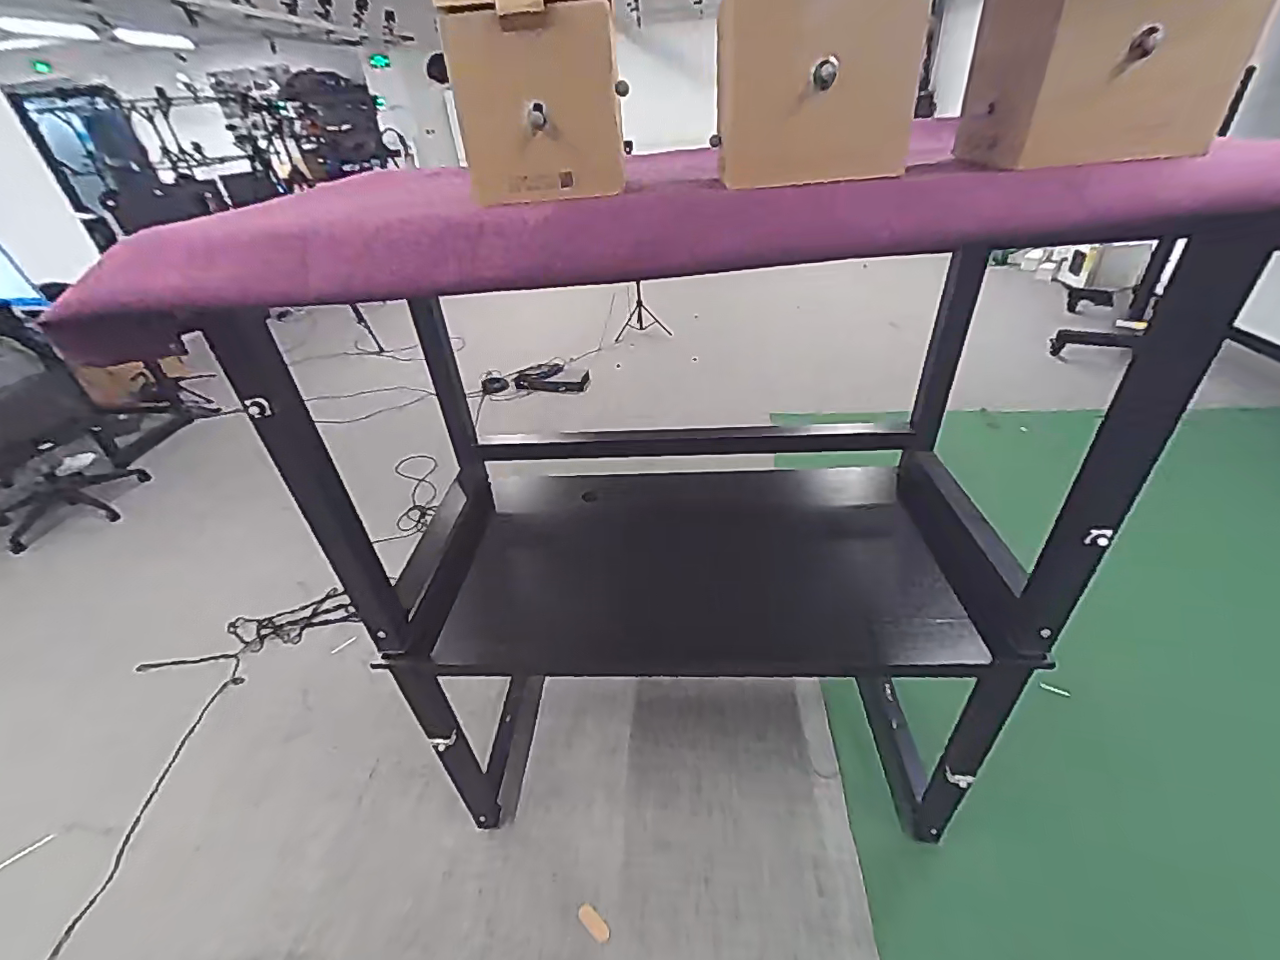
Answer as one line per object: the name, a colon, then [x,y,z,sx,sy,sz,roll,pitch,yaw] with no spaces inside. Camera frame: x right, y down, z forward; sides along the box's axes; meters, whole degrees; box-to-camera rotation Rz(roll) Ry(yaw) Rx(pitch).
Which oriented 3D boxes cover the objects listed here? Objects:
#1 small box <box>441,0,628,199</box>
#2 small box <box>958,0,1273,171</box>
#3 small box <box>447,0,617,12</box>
small box: [-0.101,-0.425,0.618,0.168,0.176,0.179,-3,34,2]
small box: [0.456,-0.421,0.541,0.179,0.176,0.168,-2,35,7]
small box: [-0.112,-0.558,0.524,0.168,0.176,0.179,-5,32,0]
